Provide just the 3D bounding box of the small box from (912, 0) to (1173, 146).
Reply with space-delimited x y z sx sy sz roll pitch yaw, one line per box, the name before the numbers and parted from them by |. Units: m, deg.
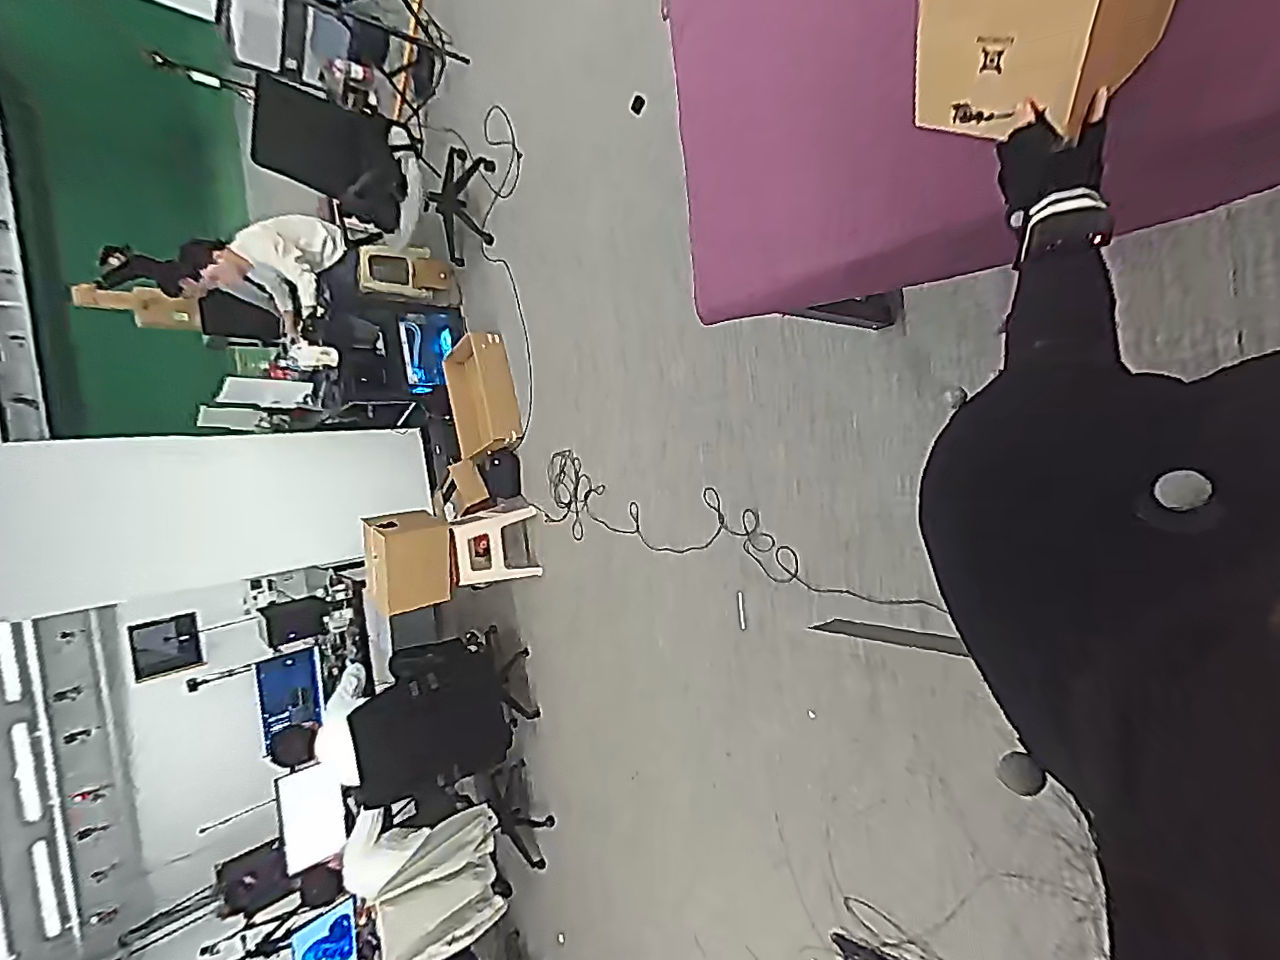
small box | 0.396 -0.474 0.526 0.176 0.179 0.168 -46 55 -3
